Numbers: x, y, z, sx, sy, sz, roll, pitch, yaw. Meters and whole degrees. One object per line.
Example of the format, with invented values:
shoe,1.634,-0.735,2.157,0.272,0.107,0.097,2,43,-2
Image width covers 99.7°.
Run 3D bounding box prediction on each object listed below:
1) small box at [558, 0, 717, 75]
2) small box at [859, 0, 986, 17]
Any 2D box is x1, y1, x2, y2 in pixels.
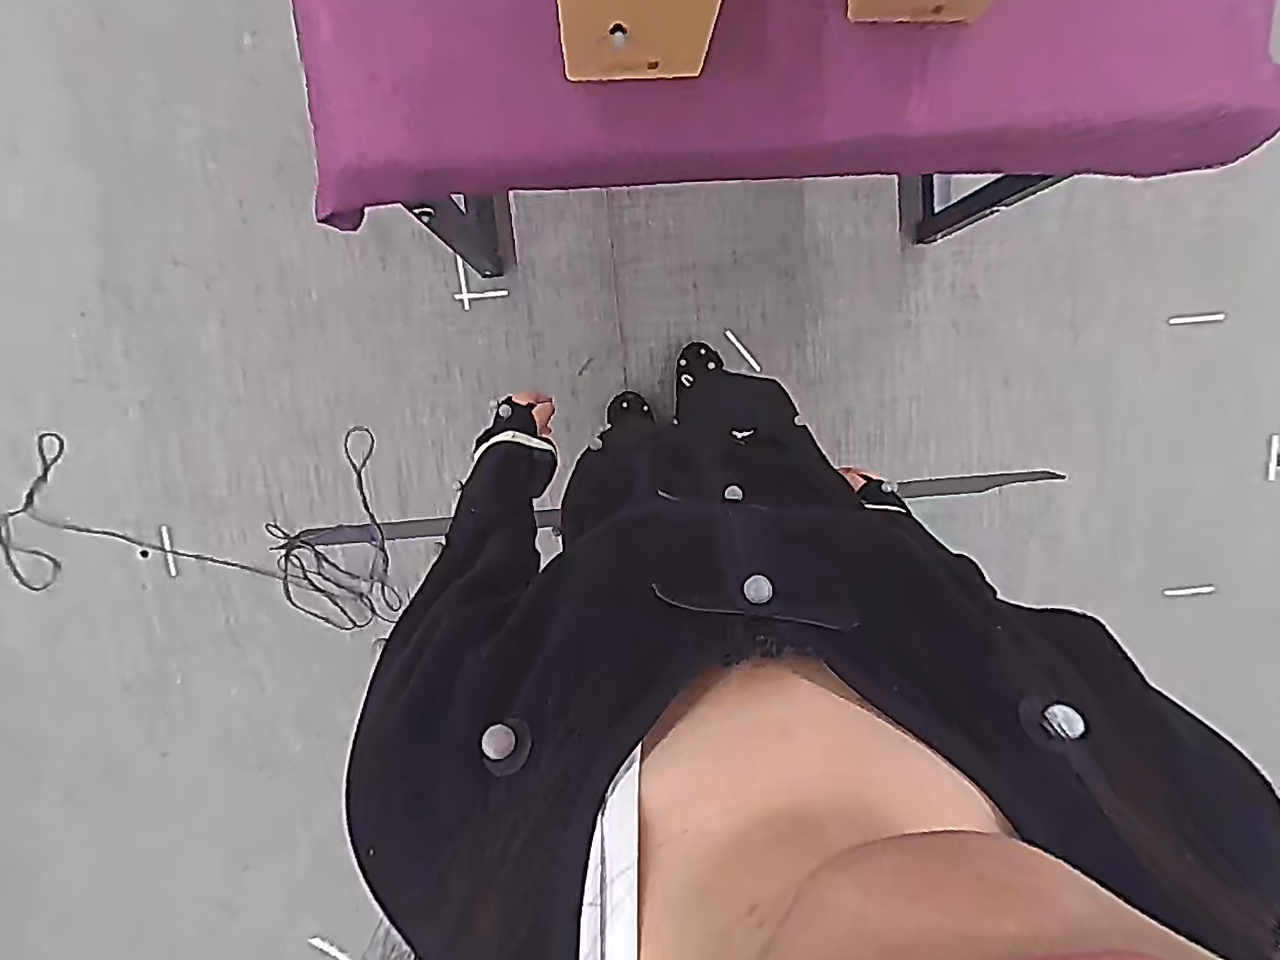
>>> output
small box,-0.005,-0.566,0.575,0.168,0.176,0.179,-4,98,-3
small box,0.341,-0.645,0.581,0.168,0.176,0.179,-2,99,-3
